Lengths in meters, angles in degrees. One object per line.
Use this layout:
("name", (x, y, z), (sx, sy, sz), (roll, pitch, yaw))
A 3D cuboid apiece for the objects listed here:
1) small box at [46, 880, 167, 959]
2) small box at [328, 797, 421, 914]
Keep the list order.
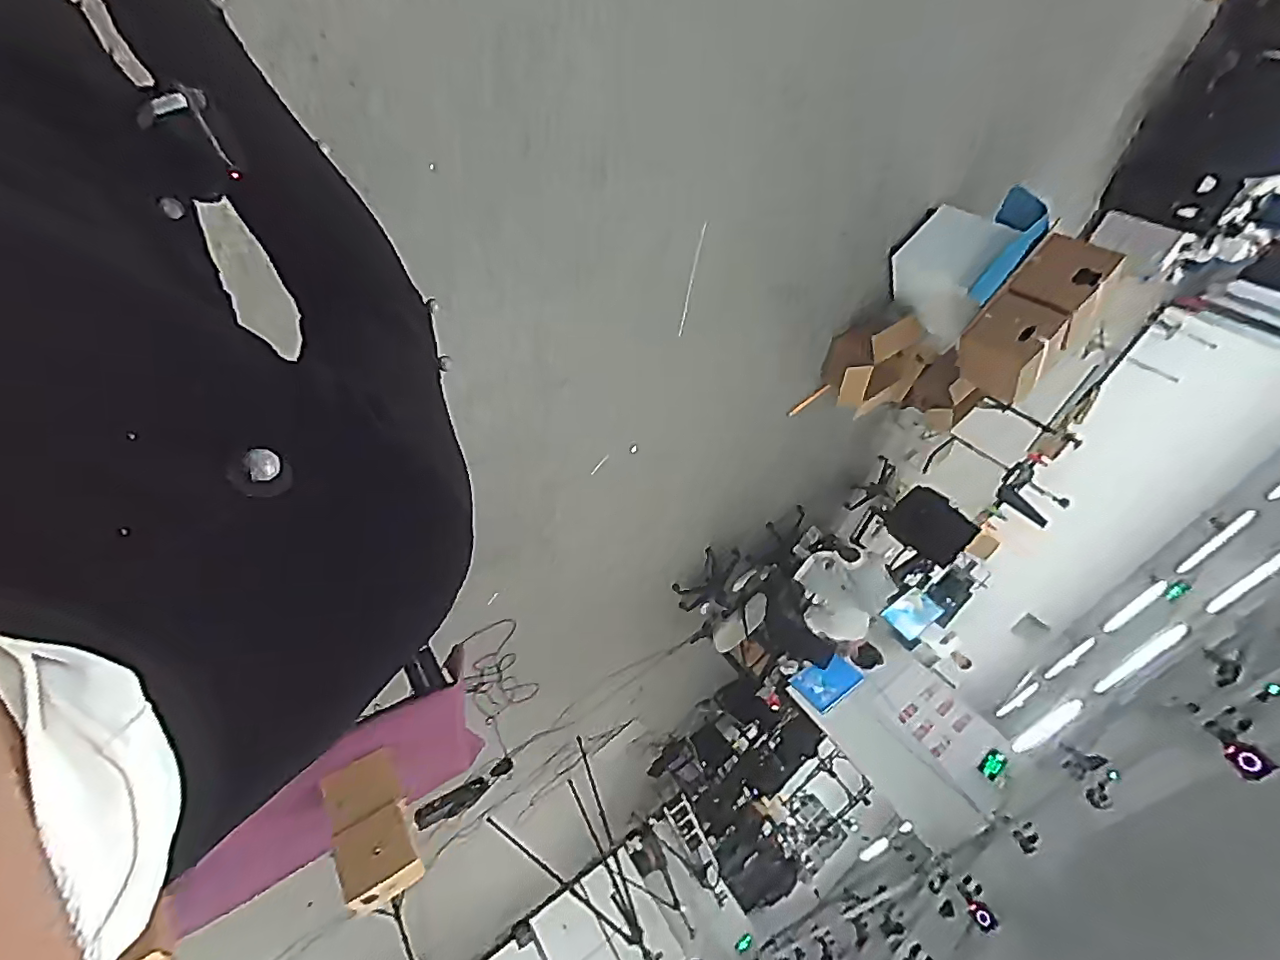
("small box", (-1.253, 1.105, 1.275), (0.179, 0.176, 0.168), (-17, 138, -38))
("small box", (-0.715, 1.002, 1.451), (0.179, 0.176, 0.168), (-22, 141, -32))
